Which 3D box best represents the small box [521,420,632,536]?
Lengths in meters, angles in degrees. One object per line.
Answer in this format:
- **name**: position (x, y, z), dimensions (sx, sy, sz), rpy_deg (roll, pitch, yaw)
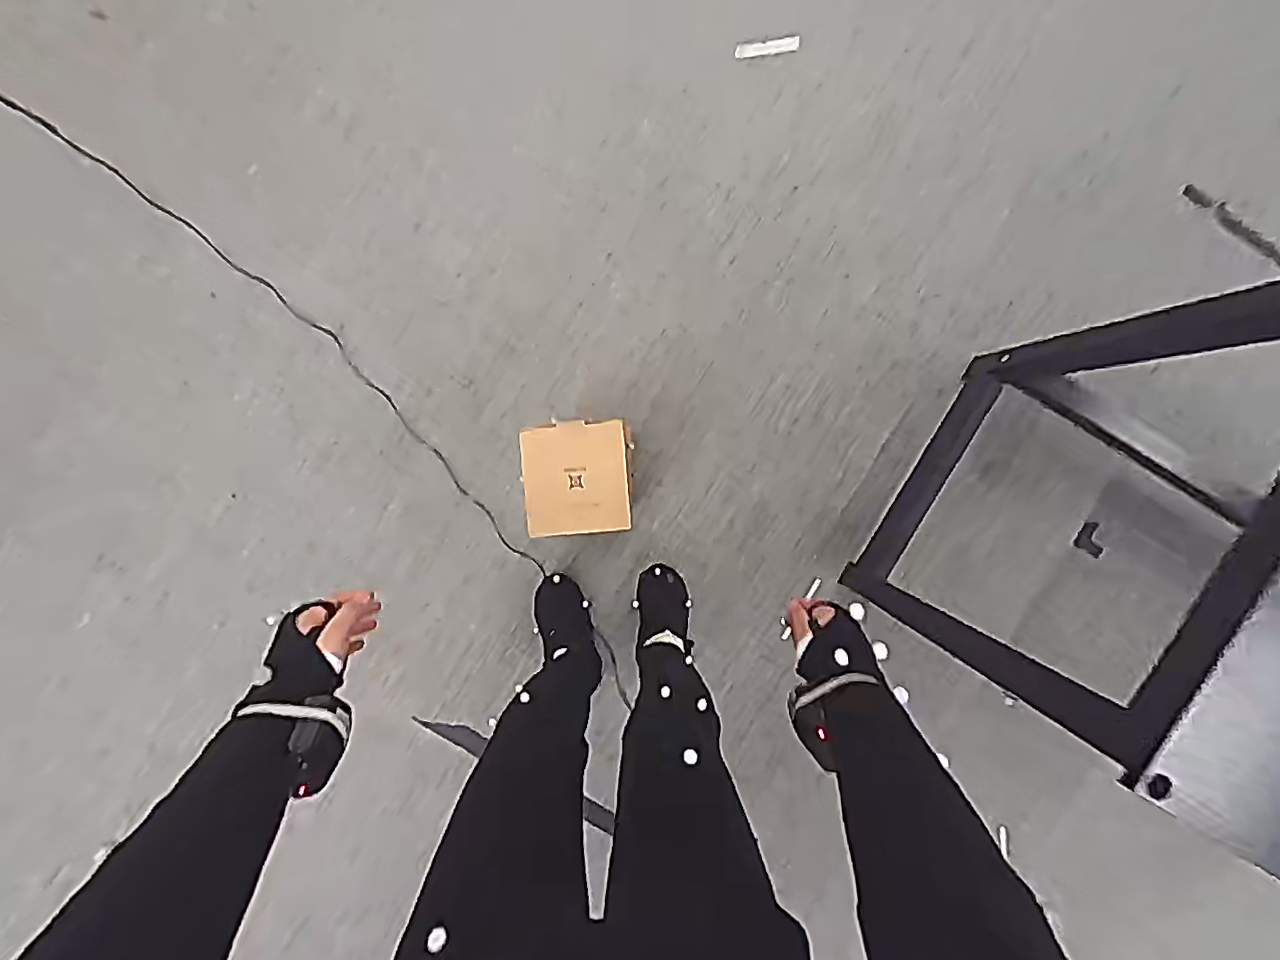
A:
- **small box**: position (-0.102, -0.007, 0.934), dimensions (0.168, 0.176, 0.179), rpy_deg (-5, 95, 0)
